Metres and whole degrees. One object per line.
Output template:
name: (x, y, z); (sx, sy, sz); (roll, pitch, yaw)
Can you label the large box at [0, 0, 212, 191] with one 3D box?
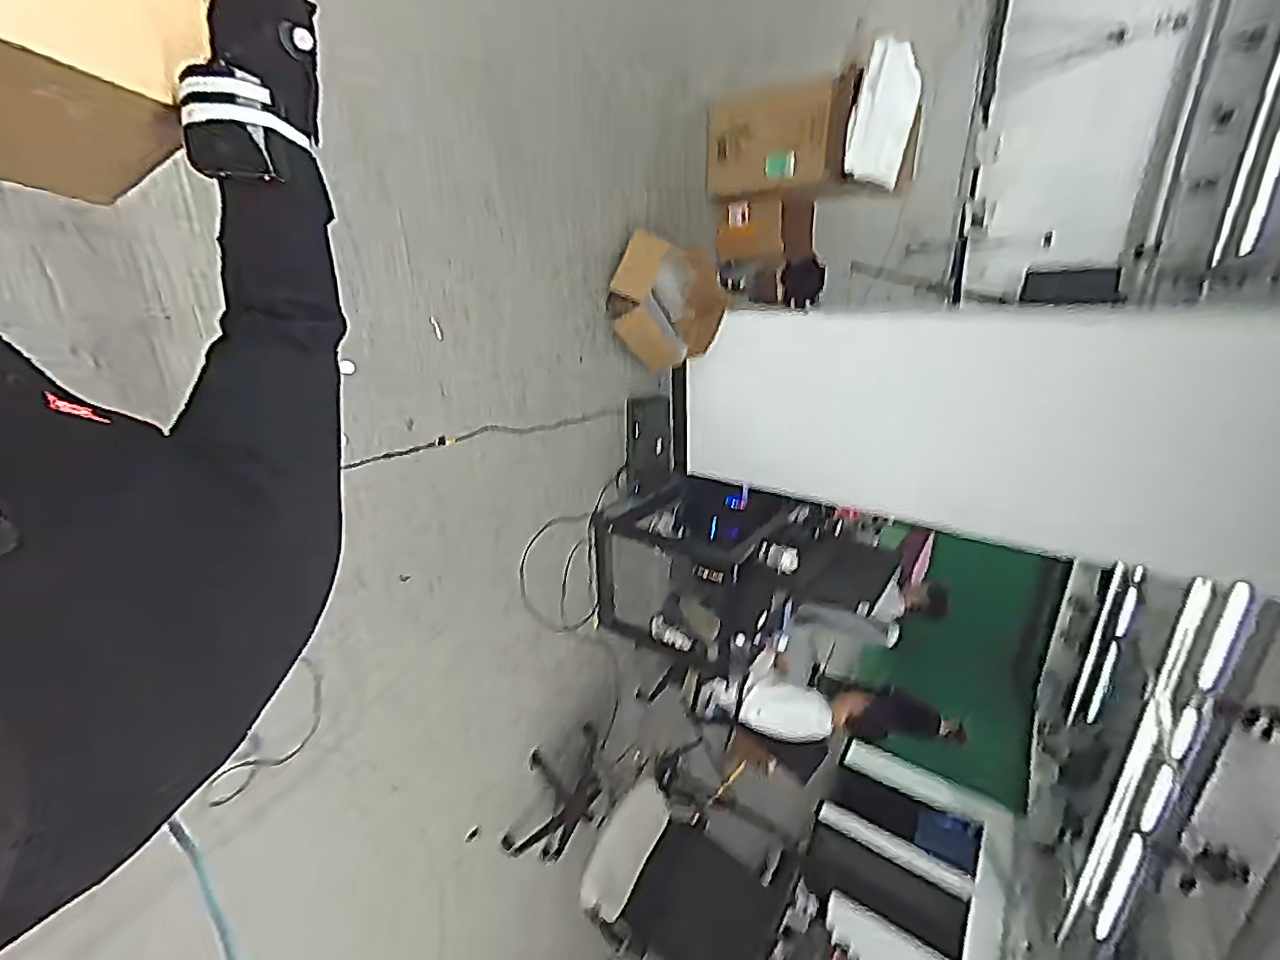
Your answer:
large box: (-0.556, -0.424, 0.313); (0.408, 0.320, 0.320); (-7, 102, -55)
